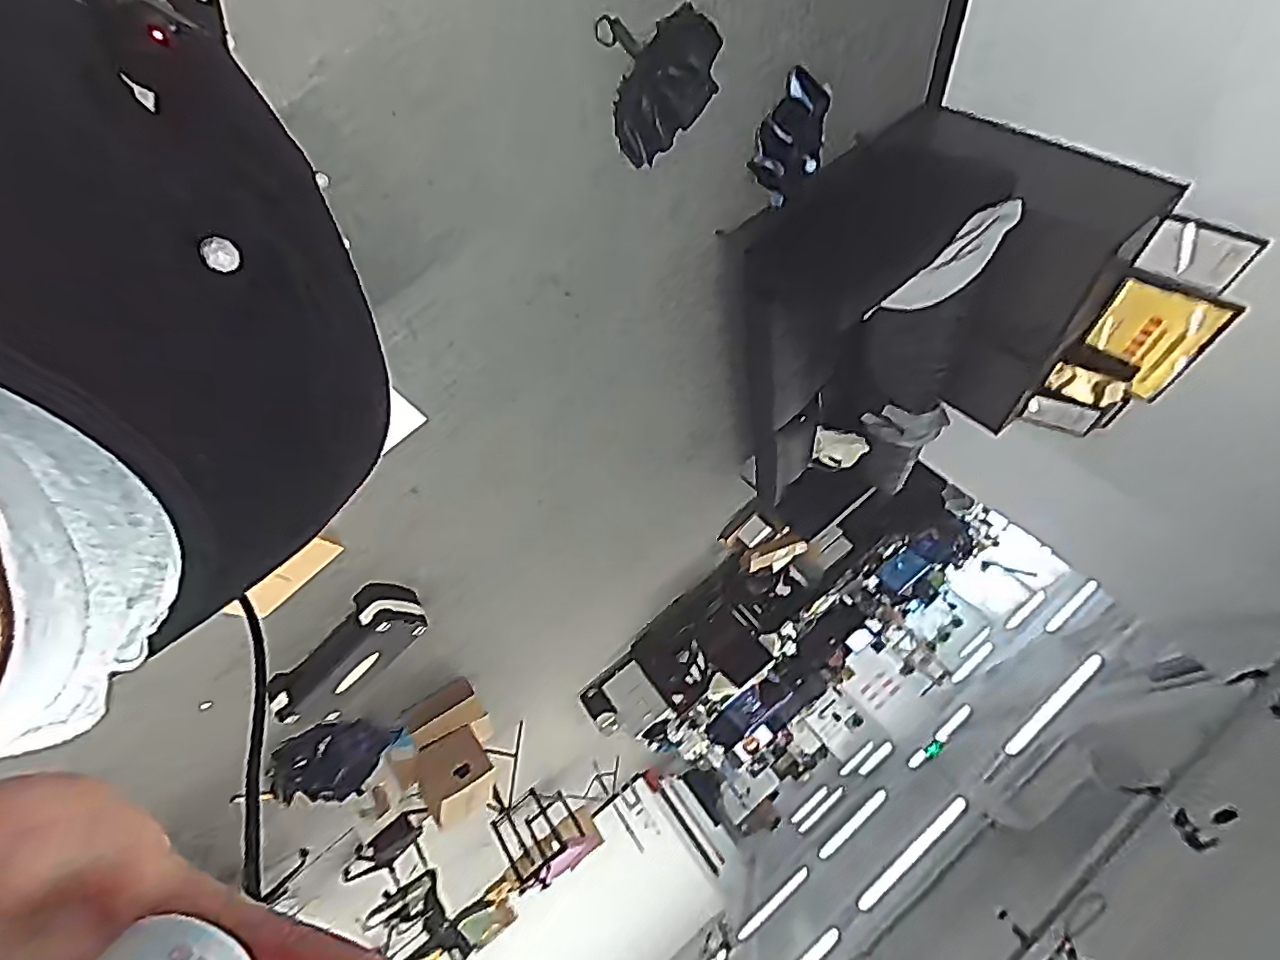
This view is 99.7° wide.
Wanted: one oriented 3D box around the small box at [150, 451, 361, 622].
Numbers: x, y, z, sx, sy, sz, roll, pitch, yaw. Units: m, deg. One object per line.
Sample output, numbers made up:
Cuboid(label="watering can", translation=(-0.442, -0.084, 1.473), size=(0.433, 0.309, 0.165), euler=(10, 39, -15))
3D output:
Cuboid(label="small box", translation=(-0.569, 0.082, 0.804), size=(0.168, 0.176, 0.179), euler=(-43, 153, -4))
